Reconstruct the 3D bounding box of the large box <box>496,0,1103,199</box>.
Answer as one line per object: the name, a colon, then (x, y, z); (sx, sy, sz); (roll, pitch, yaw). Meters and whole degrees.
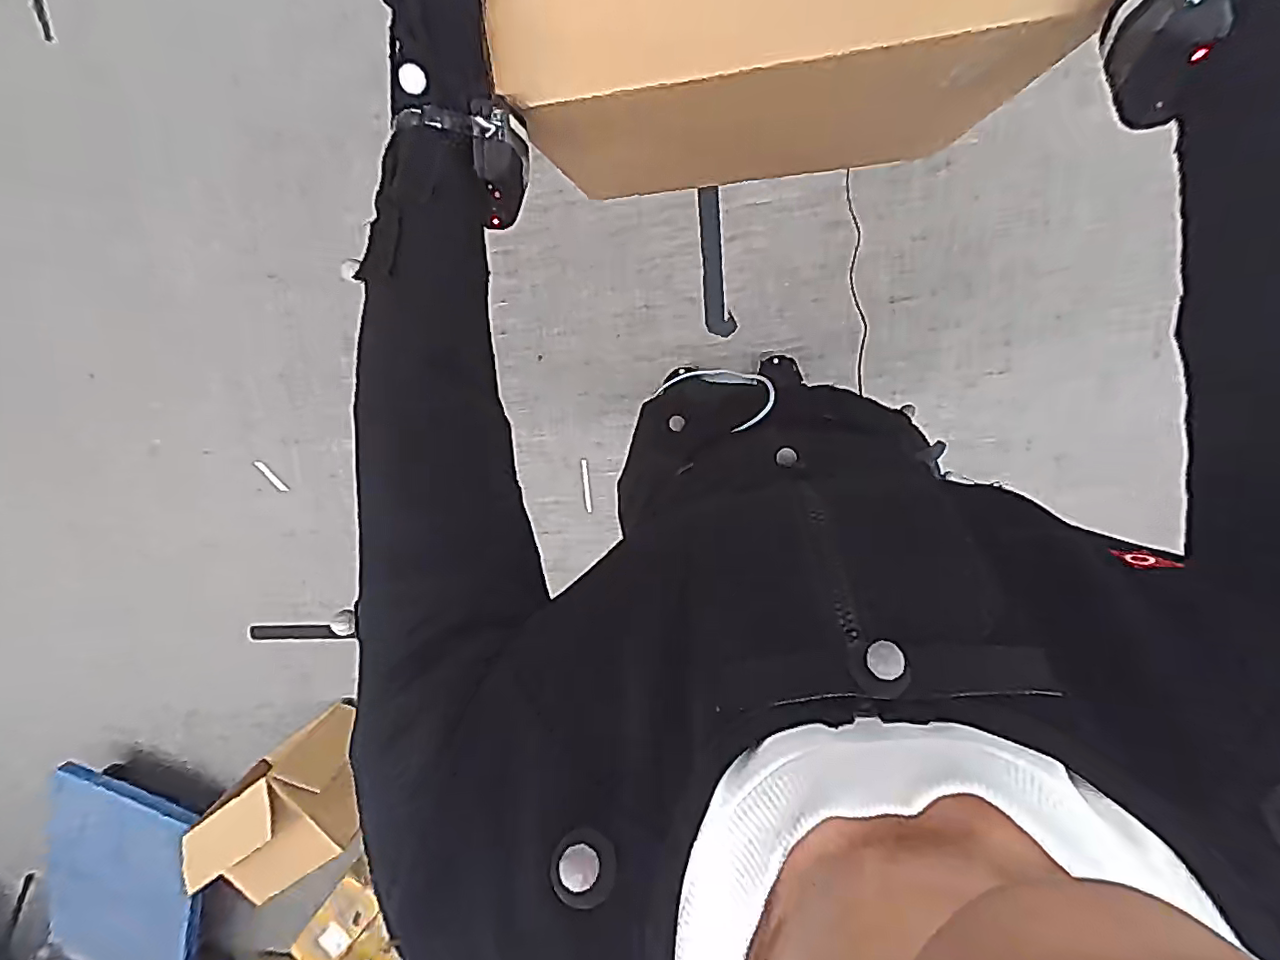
large box: (0.101, -0.468, 0.462); (0.408, 0.320, 0.320); (-4, 106, 8)
